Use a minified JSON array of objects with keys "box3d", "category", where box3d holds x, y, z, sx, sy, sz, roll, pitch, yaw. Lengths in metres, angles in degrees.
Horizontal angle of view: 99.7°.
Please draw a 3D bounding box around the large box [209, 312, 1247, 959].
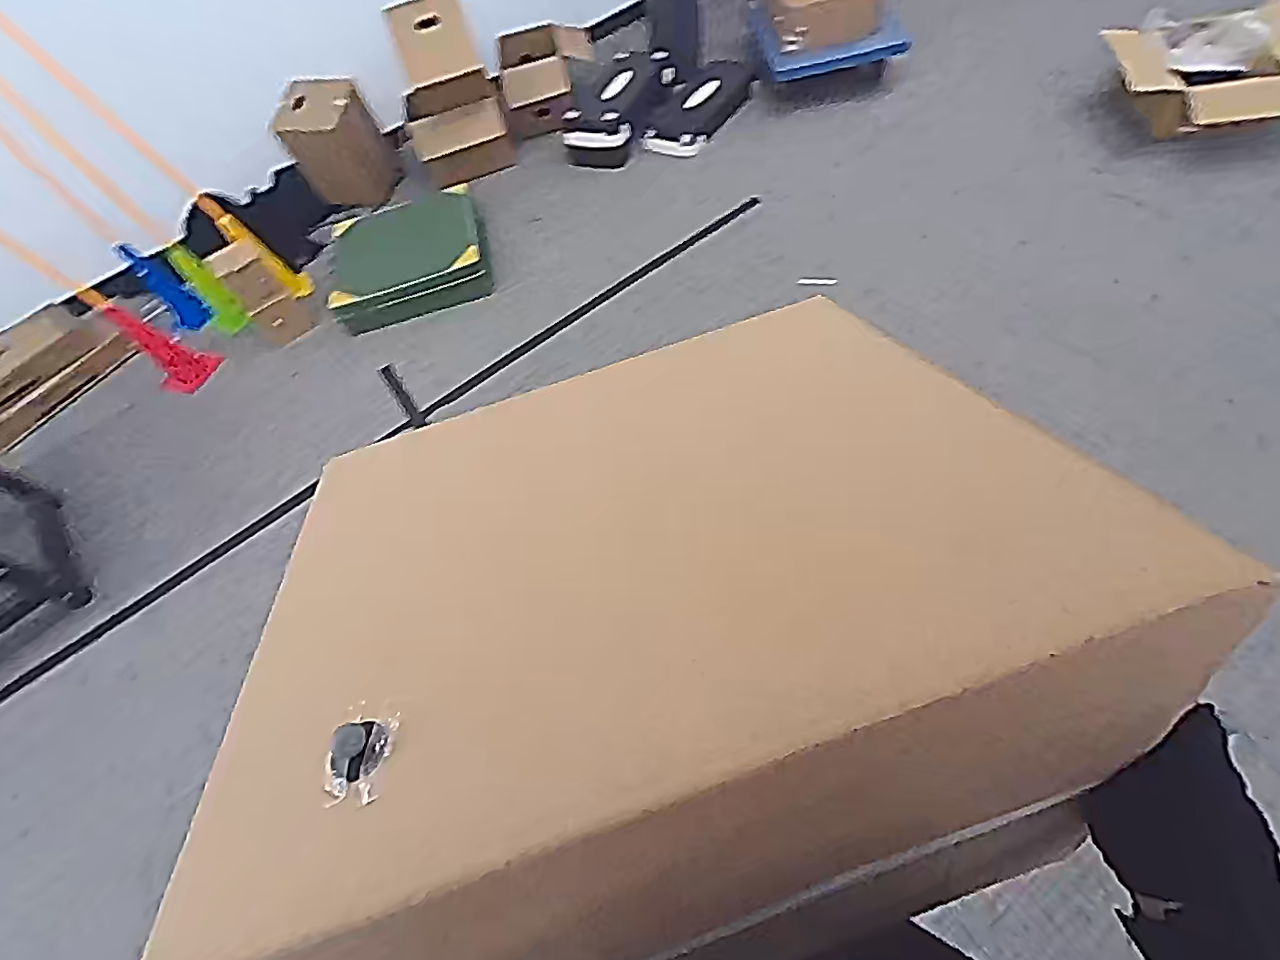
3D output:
[{"box3d":[0.036,0.123,0.398,0.408,0.320,0.320,-19,39,-2],"category":"large box"}]
